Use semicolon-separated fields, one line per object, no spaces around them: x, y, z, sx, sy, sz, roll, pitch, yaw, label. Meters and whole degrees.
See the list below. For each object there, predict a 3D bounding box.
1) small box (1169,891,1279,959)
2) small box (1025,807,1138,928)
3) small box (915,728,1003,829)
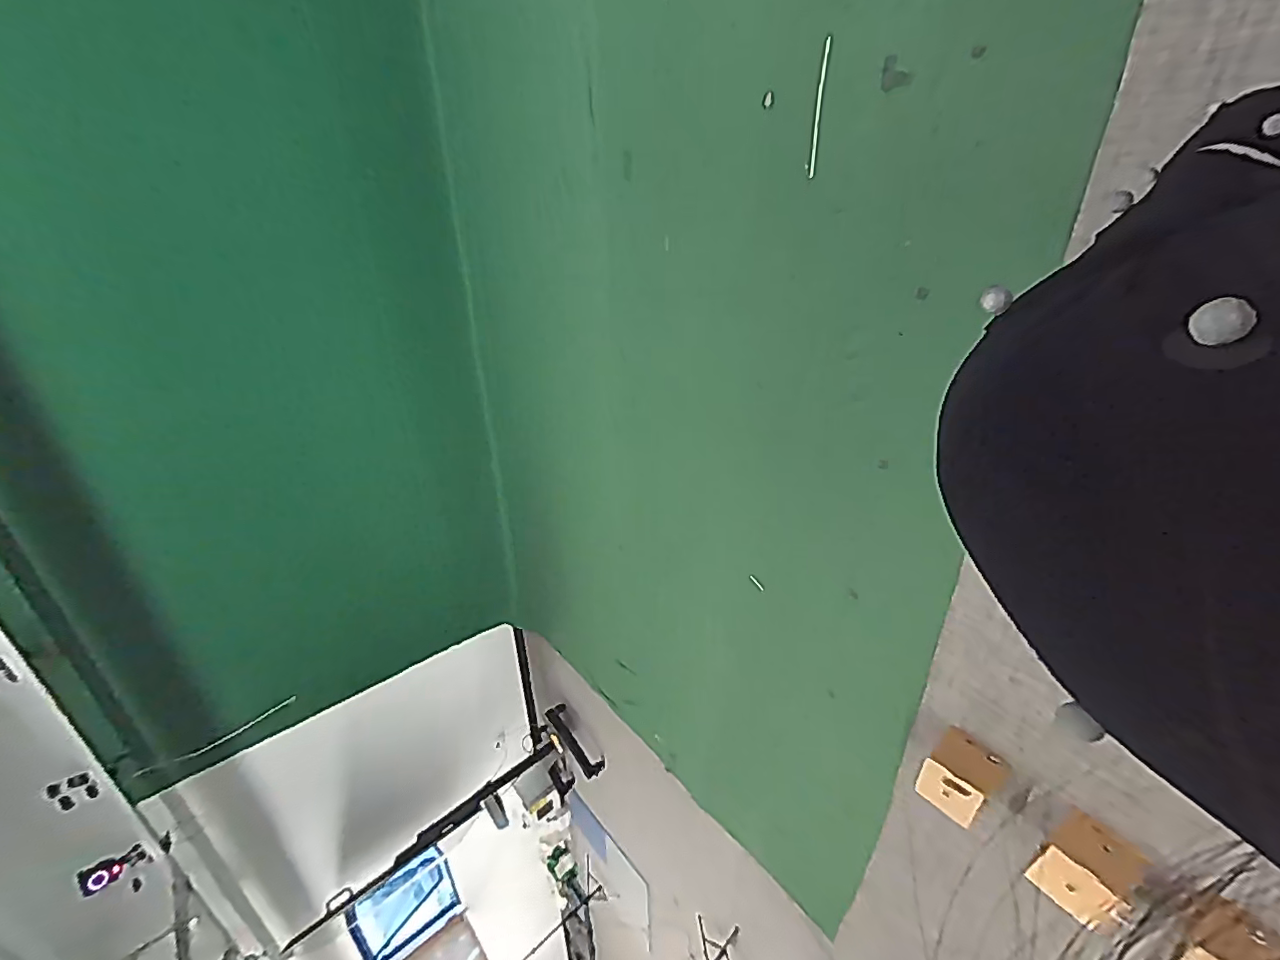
1.376;1.125;1.258;0.168;0.176;0.179;23;124;43;small box
1.192;1.038;1.458;0.168;0.176;0.179;34;132;39;small box
0.986;0.911;1.666;0.168;0.176;0.179;30;131;42;small box
